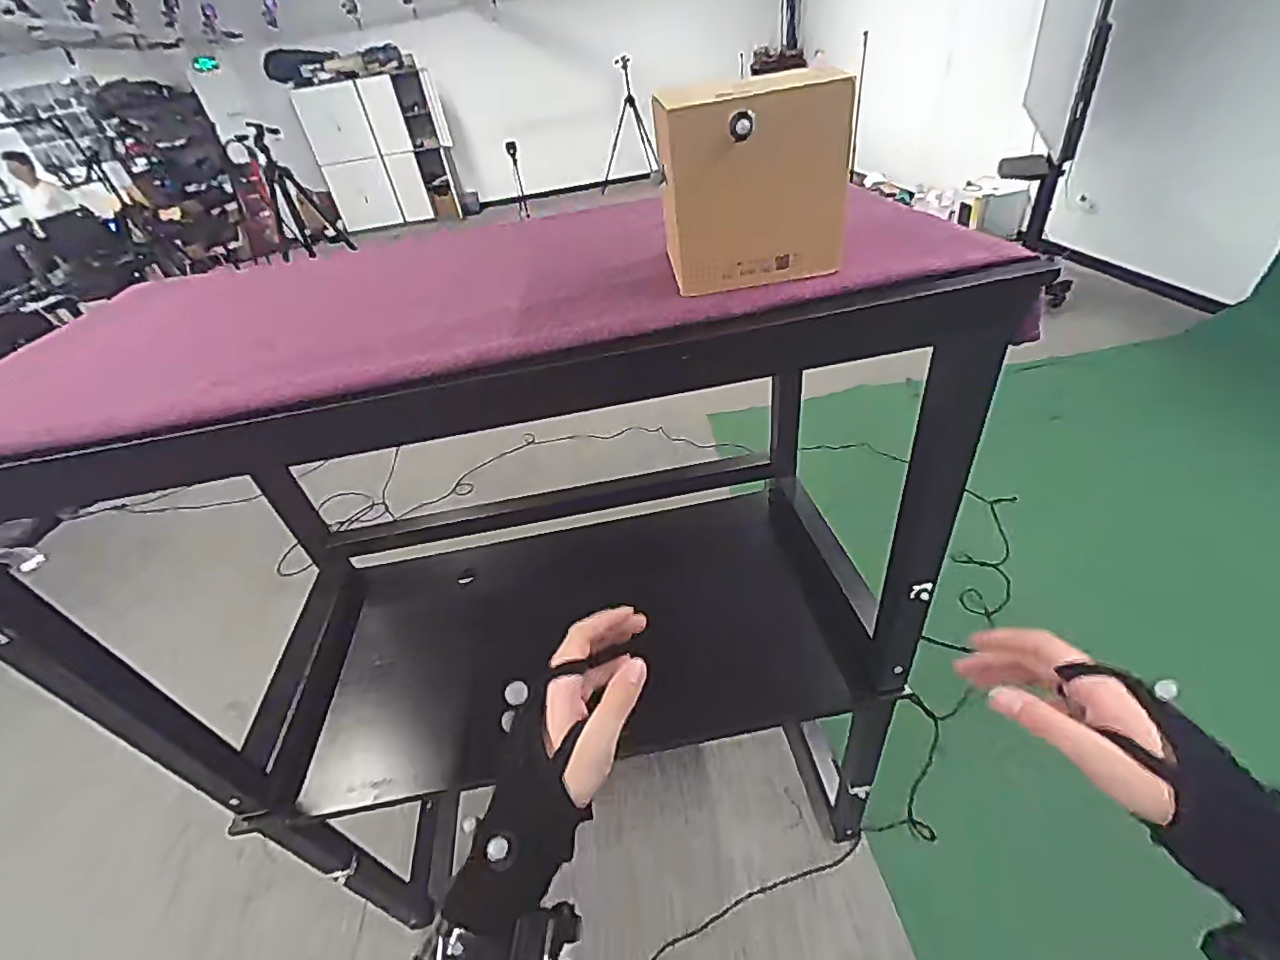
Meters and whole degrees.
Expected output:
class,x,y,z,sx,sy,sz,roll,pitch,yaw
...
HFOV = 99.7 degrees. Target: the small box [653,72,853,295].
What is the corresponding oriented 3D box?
class,x,y,z,sx,sy,sz,roll,pitch,yaw
small box,0.108,-0.314,0.574,0.168,0.176,0.179,-9,38,3
